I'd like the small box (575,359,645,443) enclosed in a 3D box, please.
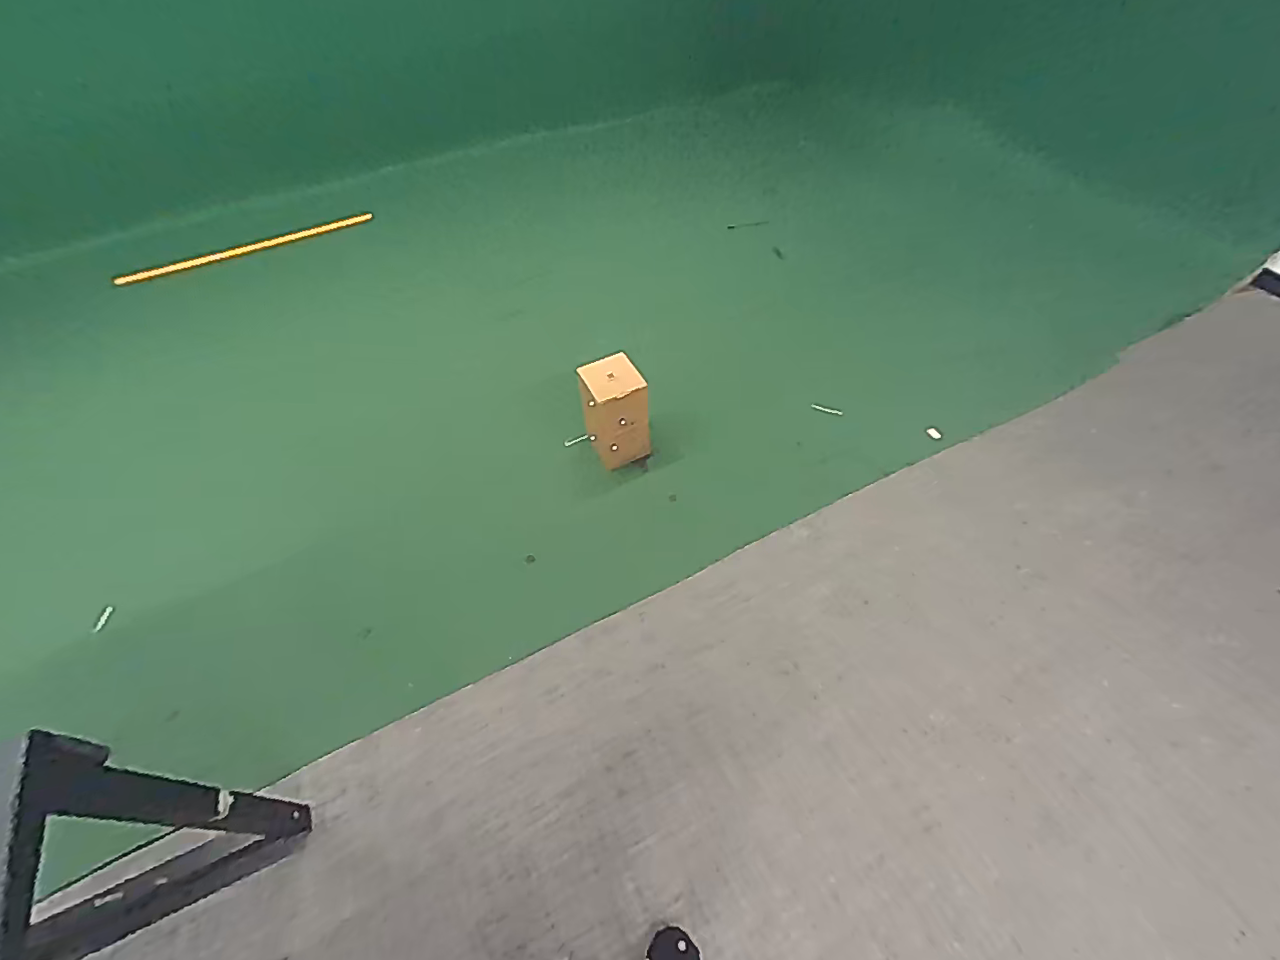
[{"bbox_3d":[-0.095,-0.251,1.724,0.168,0.176,0.179,-23,56,-16],"label":"small box"}]
